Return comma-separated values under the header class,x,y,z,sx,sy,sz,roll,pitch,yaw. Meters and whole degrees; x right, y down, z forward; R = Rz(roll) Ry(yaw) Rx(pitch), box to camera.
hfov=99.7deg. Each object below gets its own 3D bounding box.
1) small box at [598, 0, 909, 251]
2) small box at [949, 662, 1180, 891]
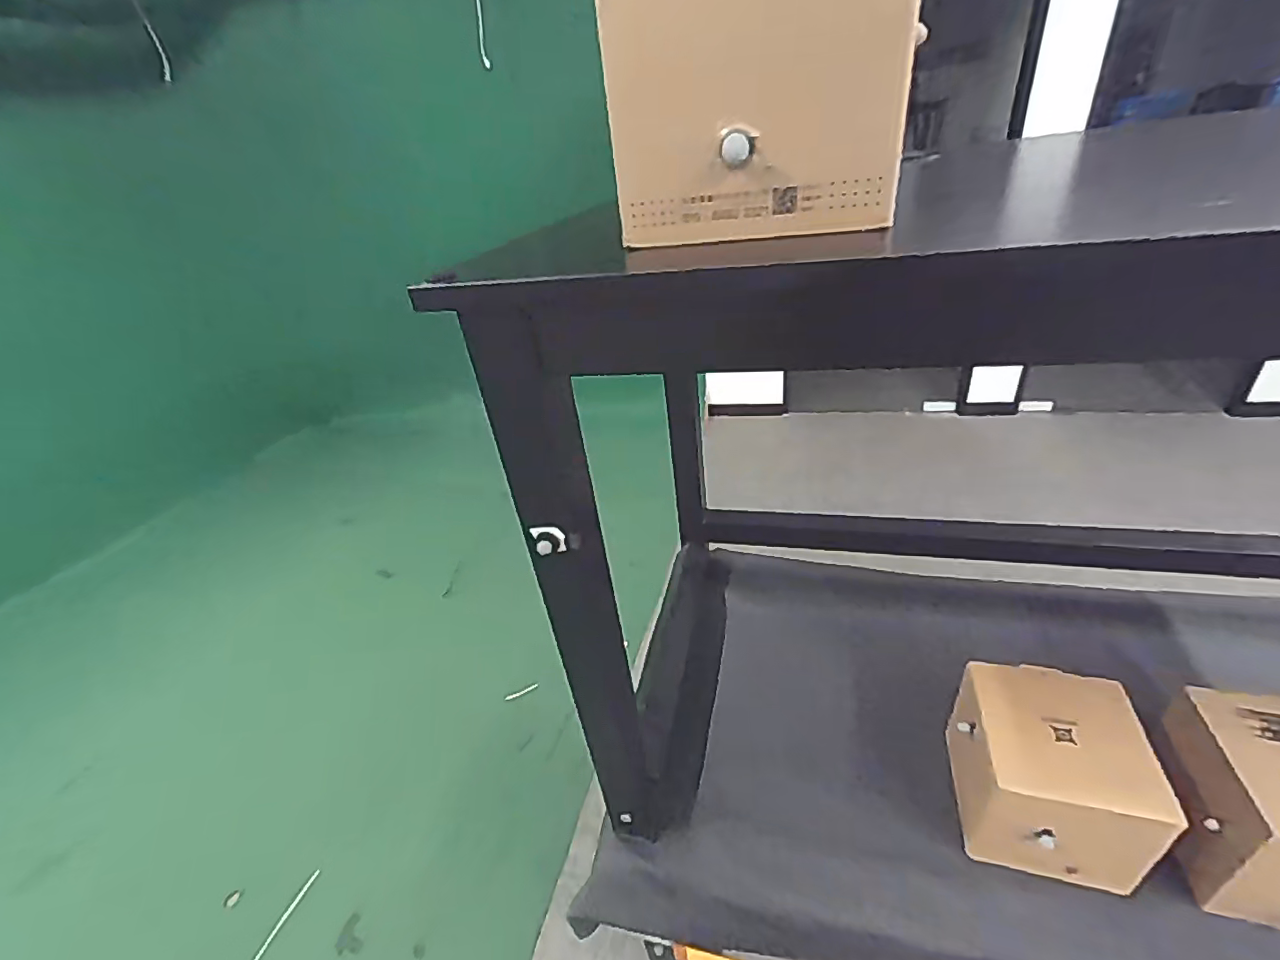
class,x,y,z,sx,sy,sz,roll,pitch,yaw
small box,0.078,-0.260,0.365,0.168,0.176,0.179,2,34,17
small box,0.495,0.359,0.665,0.168,0.176,0.179,3,33,18
